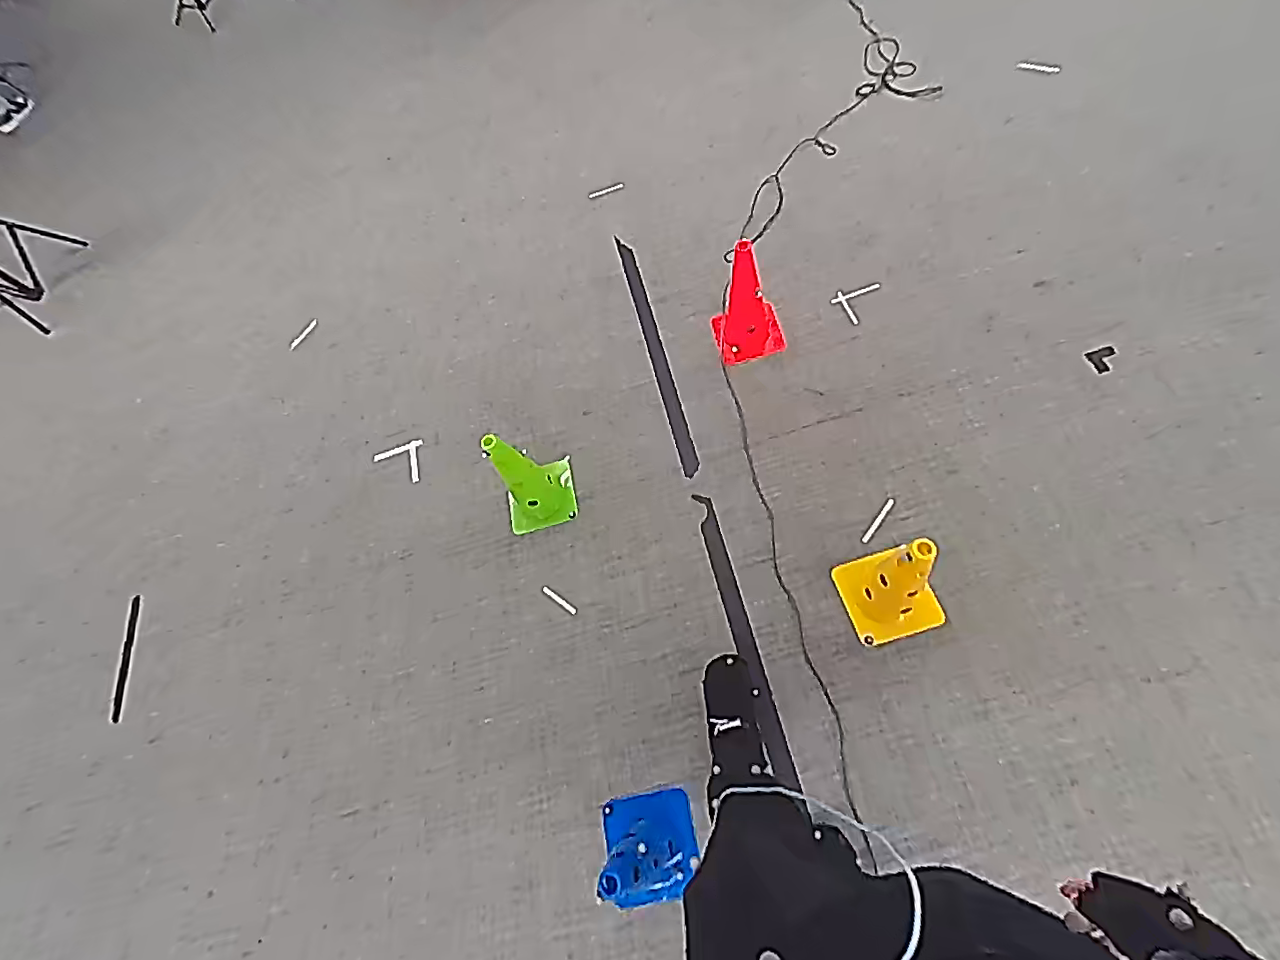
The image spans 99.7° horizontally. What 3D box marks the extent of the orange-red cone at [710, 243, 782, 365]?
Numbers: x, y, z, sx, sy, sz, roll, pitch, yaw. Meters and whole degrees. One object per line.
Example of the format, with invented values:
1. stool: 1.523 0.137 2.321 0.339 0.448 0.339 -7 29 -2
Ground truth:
1. orange-red cone: 0.298 -0.525 1.545 0.199 0.360 0.198 -12 64 6

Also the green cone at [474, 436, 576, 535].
1. green cone: -0.333 -0.020 1.449 0.202 0.368 0.200 -18 62 6

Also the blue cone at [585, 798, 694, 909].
1. blue cone: -0.021 0.737 1.031 0.192 0.380 0.193 -14 62 7
